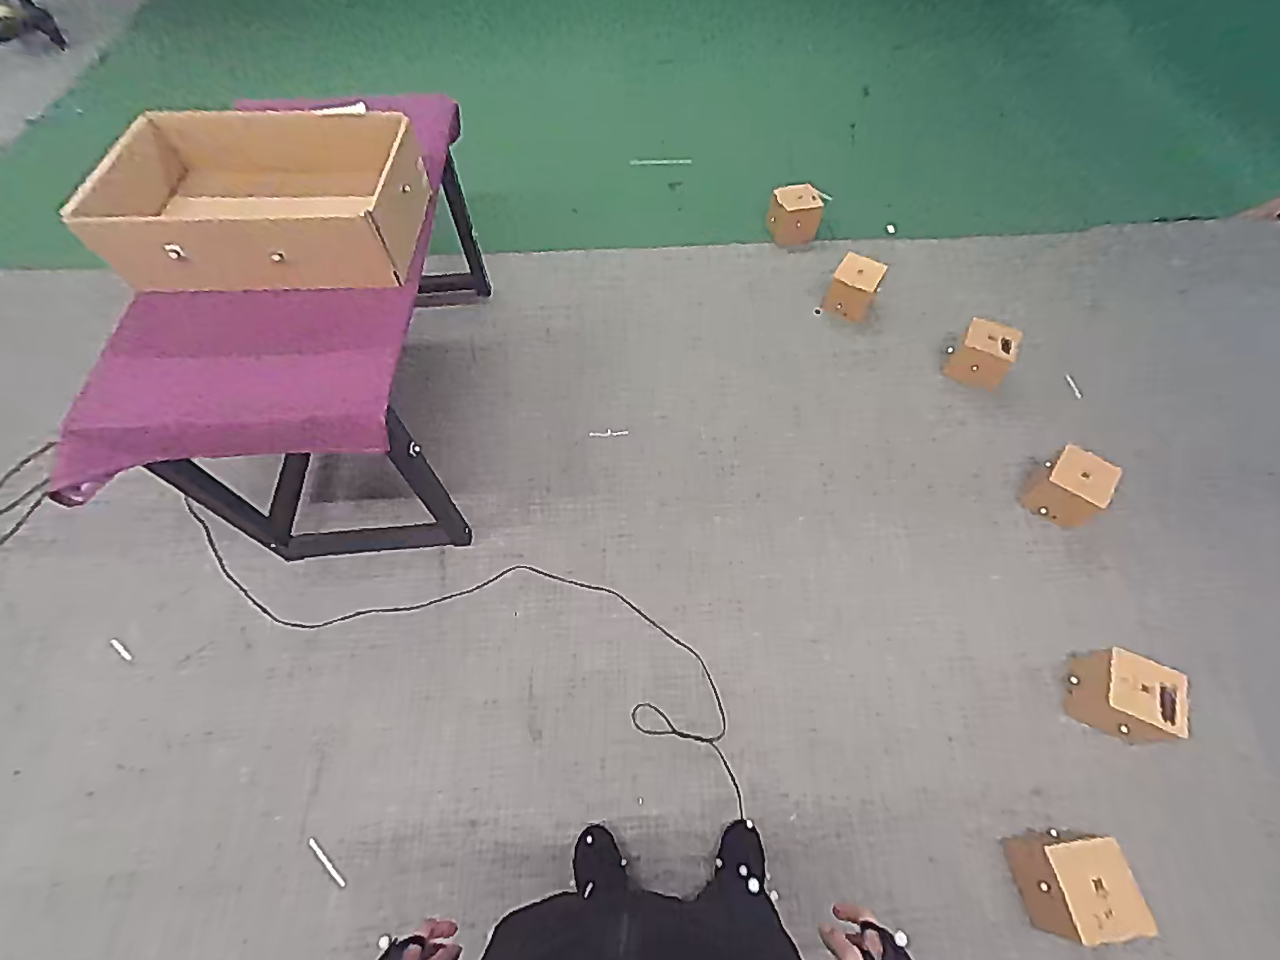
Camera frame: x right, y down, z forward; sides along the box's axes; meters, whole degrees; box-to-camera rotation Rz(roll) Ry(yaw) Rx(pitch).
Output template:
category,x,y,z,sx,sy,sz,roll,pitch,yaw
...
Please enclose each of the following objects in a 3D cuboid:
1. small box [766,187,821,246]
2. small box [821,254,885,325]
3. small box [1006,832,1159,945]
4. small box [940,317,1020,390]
category,x,y,z,sx,sy,sz,roll,pitch,yaw
small box,0.672,-1.166,2.400,0.179,0.176,0.168,-12,61,-7
small box,0.848,-0.763,2.170,0.168,0.176,0.179,29,65,15
small box,0.973,0.902,1.212,0.168,0.176,0.179,-6,61,-3
small box,1.249,-0.460,1.994,0.179,0.176,0.168,25,63,14
